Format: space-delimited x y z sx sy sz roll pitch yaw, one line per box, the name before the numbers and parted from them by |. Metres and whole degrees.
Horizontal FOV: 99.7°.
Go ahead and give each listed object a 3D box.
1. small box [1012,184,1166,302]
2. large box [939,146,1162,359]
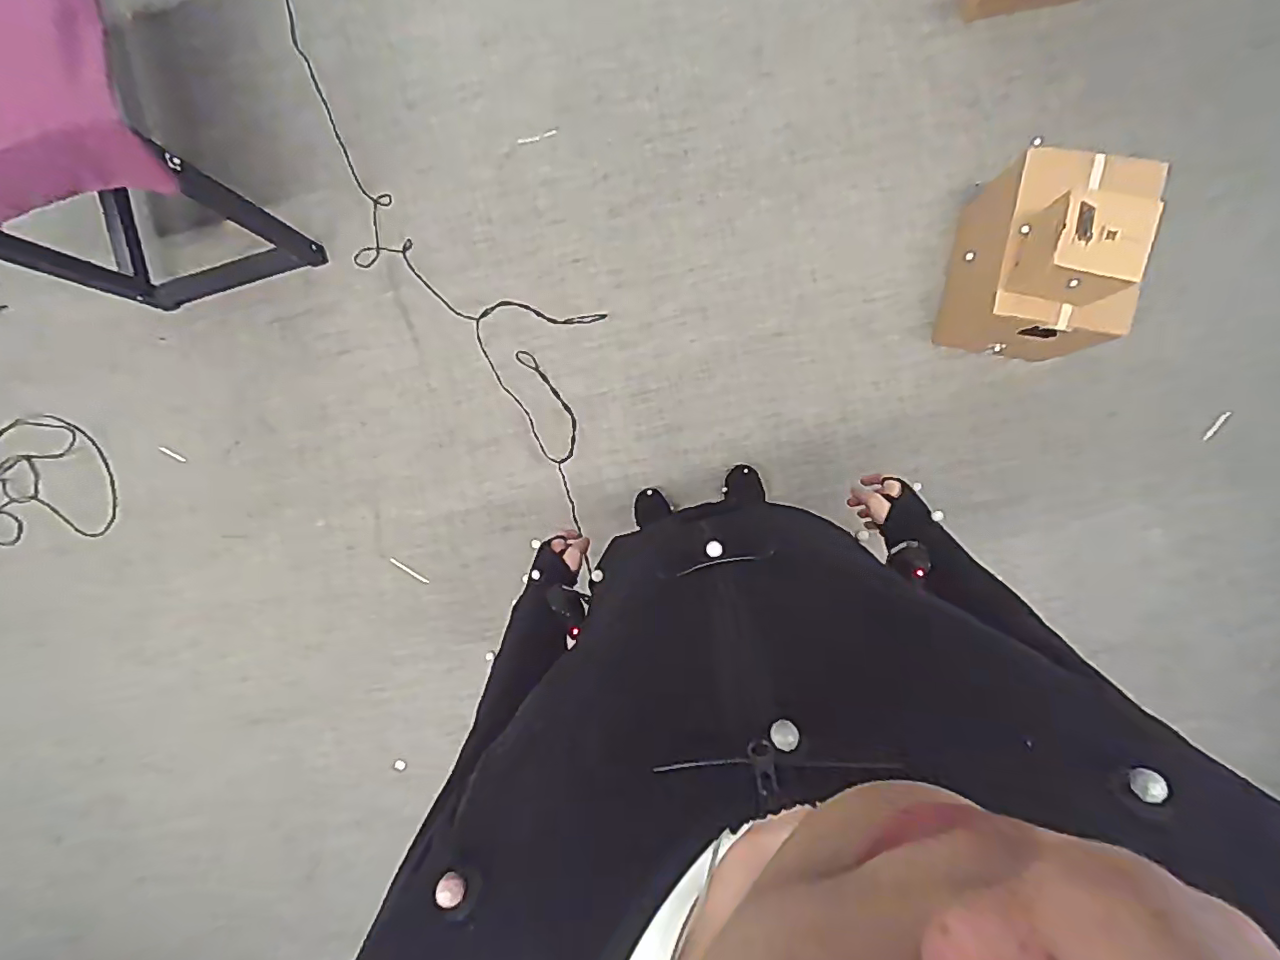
small box | 0.951 -0.500 1.164 0.179 0.176 0.168 15 93 5
large box | 1.029 -0.561 1.404 0.320 0.320 0.408 11 91 4
